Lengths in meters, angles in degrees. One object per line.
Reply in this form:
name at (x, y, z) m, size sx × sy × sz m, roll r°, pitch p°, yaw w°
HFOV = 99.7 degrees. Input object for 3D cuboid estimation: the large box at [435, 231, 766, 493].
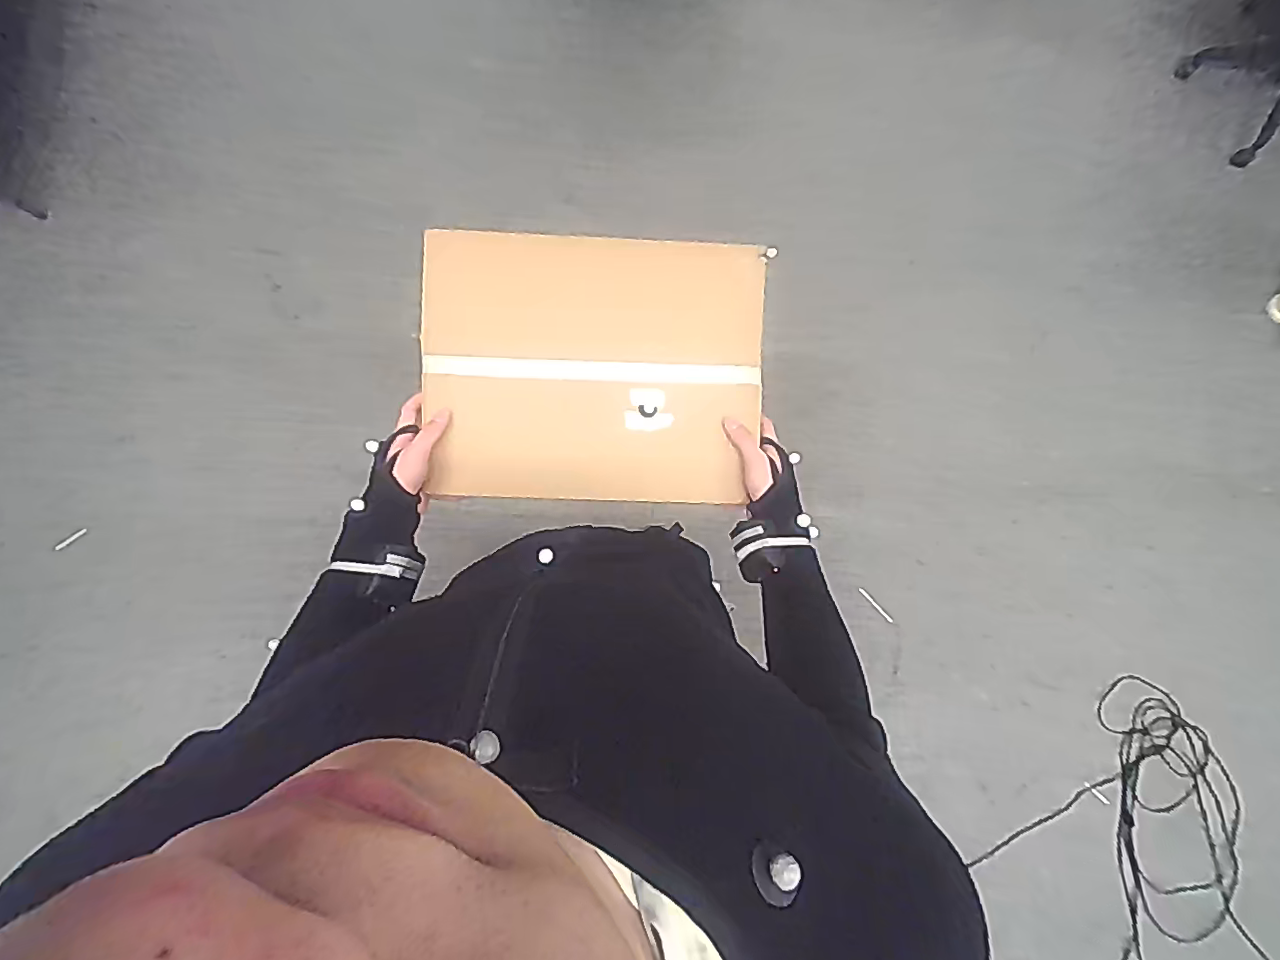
large box at (-0.055, -0.148, 0.803) m, size 0.408 × 0.320 × 0.320 m, roll 1°, pitch 94°, yaw -3°
